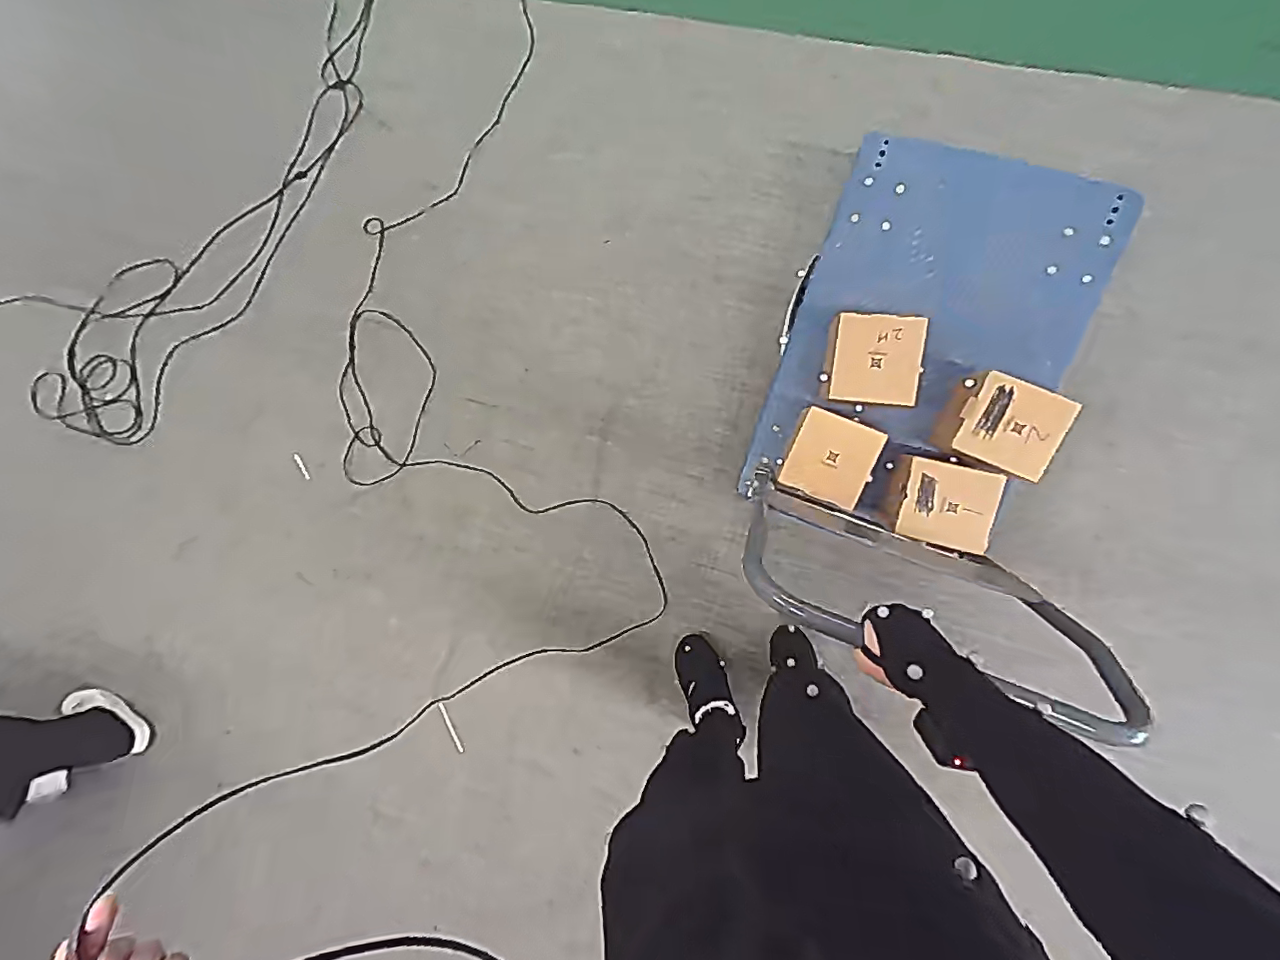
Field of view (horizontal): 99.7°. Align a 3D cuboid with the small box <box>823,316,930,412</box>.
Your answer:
[{"bbox_3d":[0.494,-0.240,1.155,0.168,0.176,0.179,8,97,11],"label":"small box"}]
